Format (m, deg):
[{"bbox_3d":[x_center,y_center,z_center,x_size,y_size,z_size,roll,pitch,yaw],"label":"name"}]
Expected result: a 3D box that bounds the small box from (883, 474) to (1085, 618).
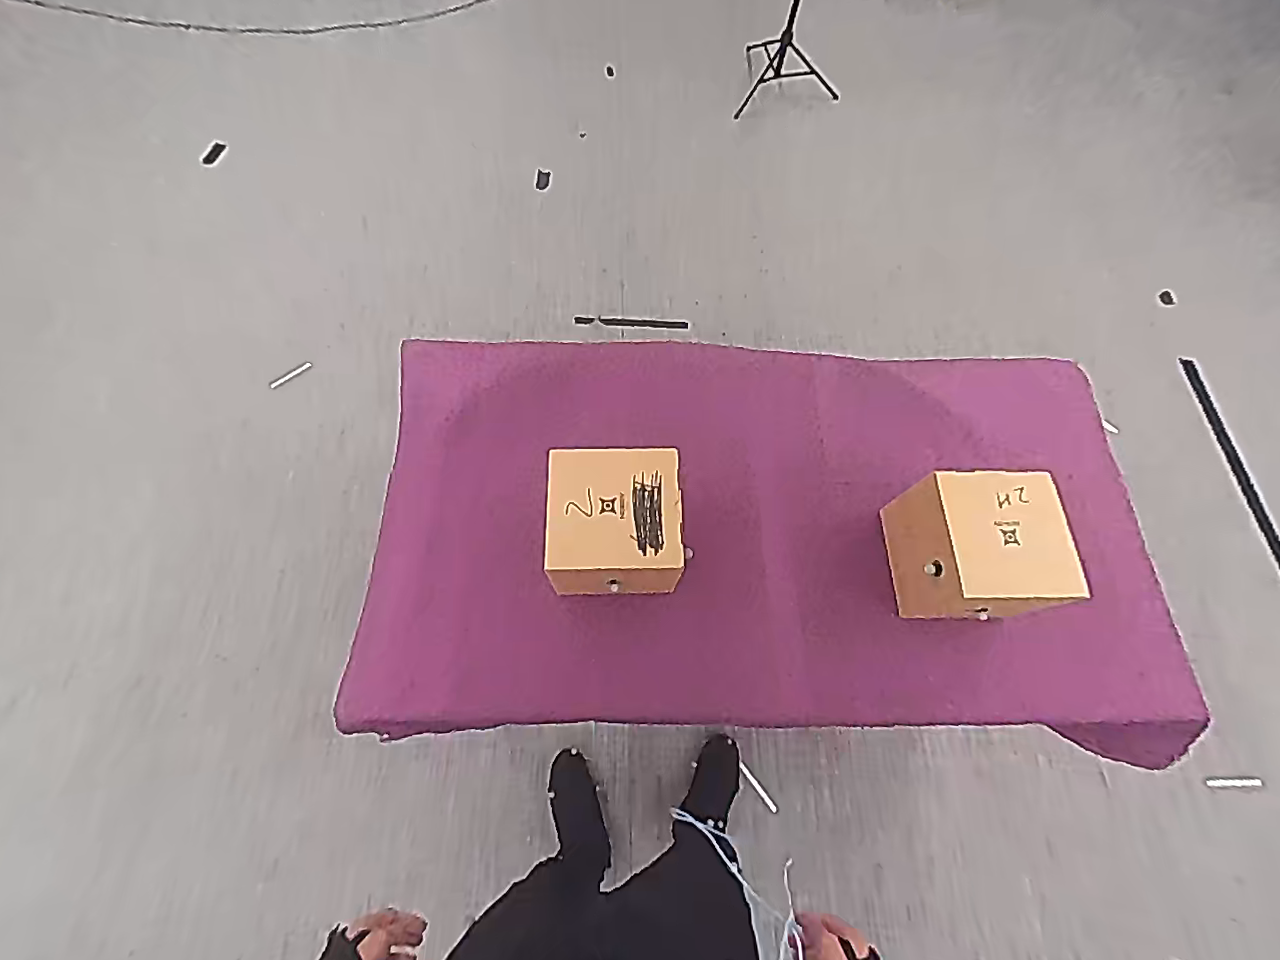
[{"bbox_3d":[0.480,0.103,0.785,0.168,0.176,0.179,1,68,-3],"label":"small box"}]
